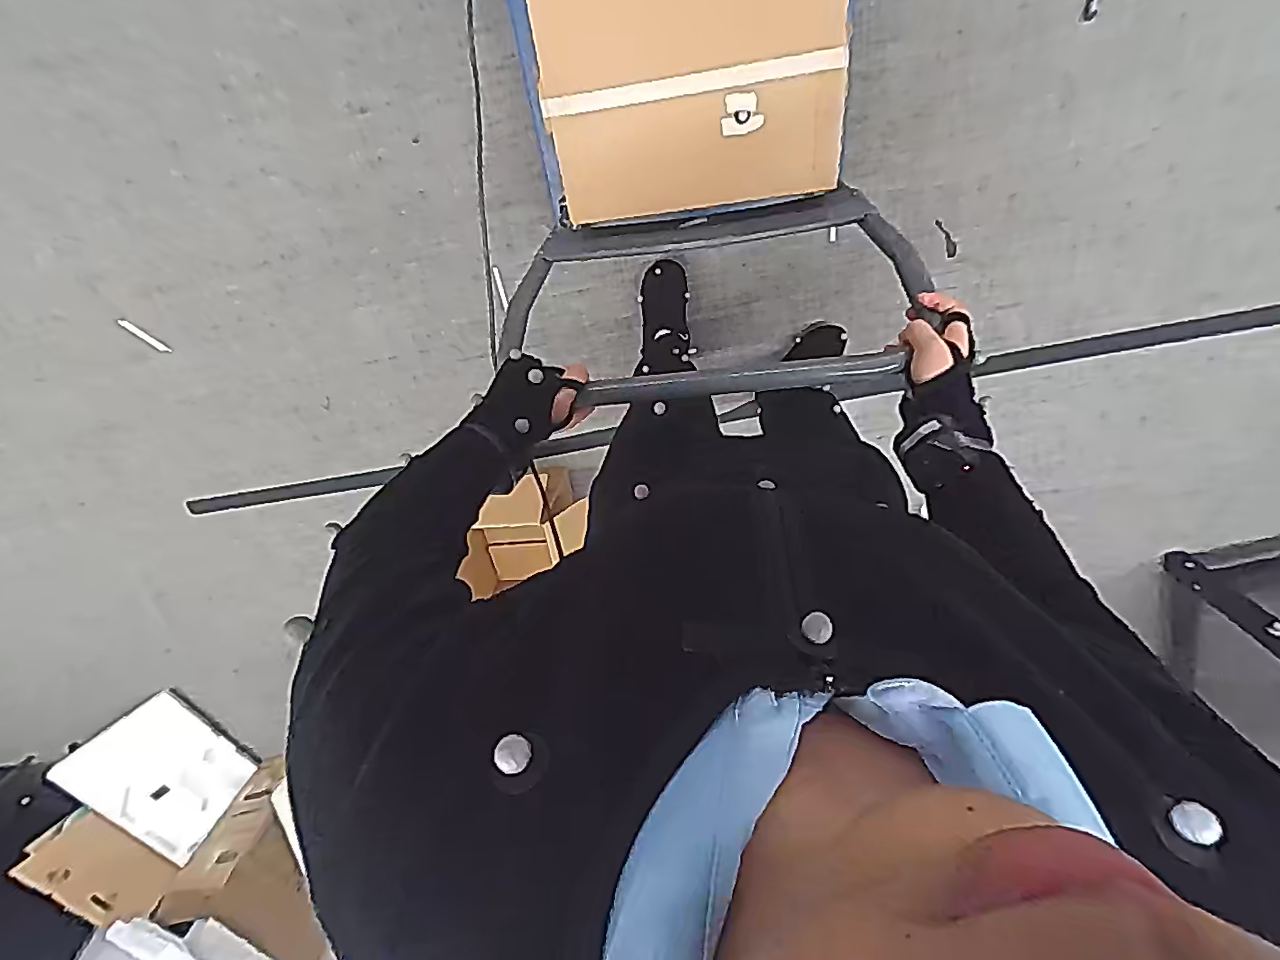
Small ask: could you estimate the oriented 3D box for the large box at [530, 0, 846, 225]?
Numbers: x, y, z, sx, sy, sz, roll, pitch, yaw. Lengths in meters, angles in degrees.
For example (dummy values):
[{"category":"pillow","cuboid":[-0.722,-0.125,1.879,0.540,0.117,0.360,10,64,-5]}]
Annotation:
[{"category":"large box","cuboid":[0.079,-0.630,0.857,0.408,0.320,0.320,-5,127,7]}]
